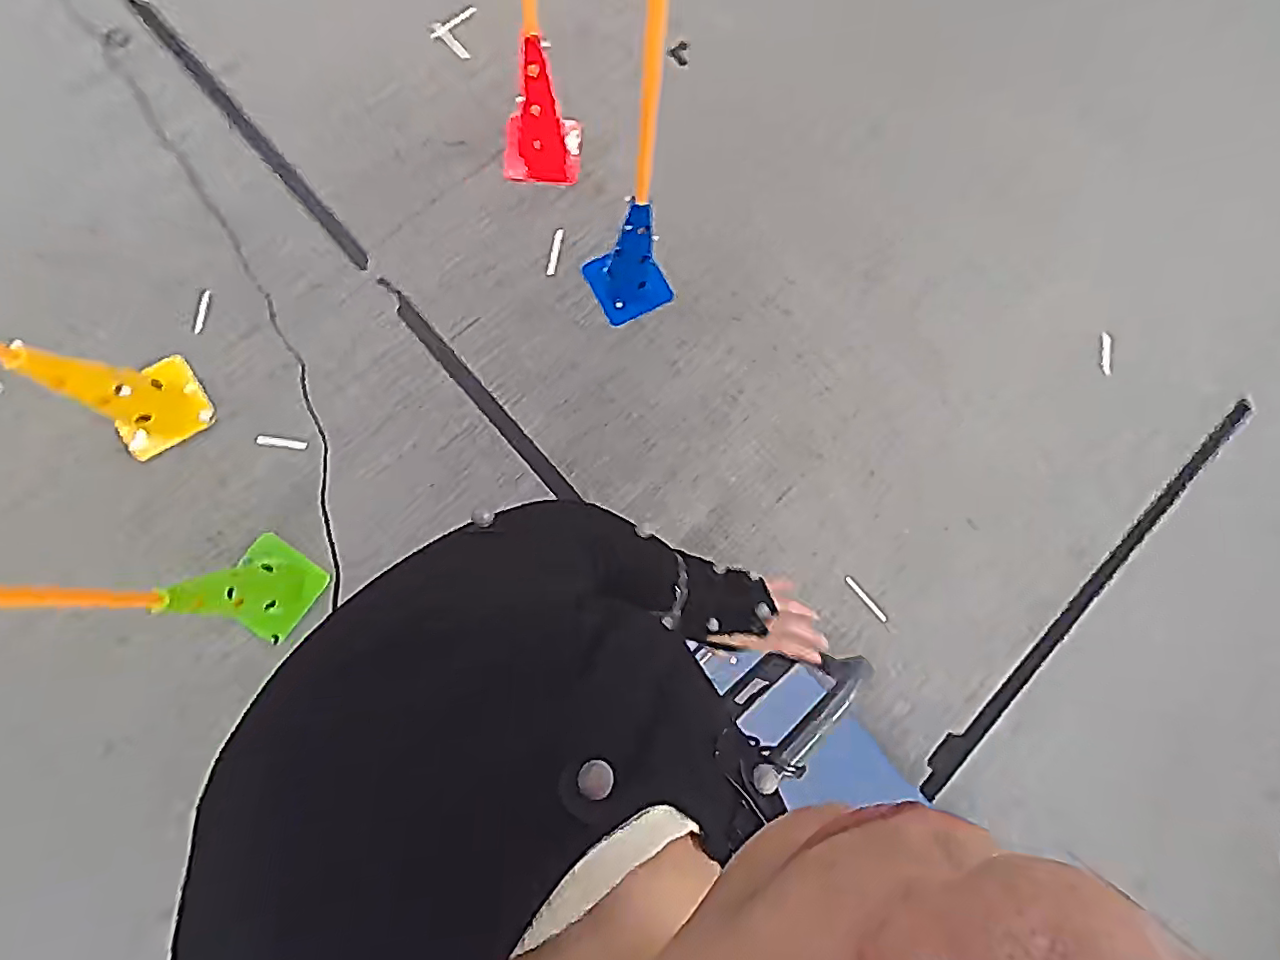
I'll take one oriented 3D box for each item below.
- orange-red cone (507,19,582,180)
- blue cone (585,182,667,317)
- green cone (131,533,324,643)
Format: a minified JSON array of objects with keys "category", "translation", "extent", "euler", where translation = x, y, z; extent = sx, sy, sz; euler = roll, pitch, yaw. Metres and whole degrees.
[{"category":"orange-red cone","translation":[-0.250,-0.954,1.338],"extent":[0.198,0.360,0.199],"euler":[4,83,-5]},{"category":"blue cone","translation":[-0.019,-0.576,1.322],"extent":[0.193,0.380,0.192],"euler":[-26,84,-9]},{"category":"green cone","translation":[-0.860,0.224,1.098],"extent":[0.202,0.368,0.200],"euler":[35,79,1]}]
